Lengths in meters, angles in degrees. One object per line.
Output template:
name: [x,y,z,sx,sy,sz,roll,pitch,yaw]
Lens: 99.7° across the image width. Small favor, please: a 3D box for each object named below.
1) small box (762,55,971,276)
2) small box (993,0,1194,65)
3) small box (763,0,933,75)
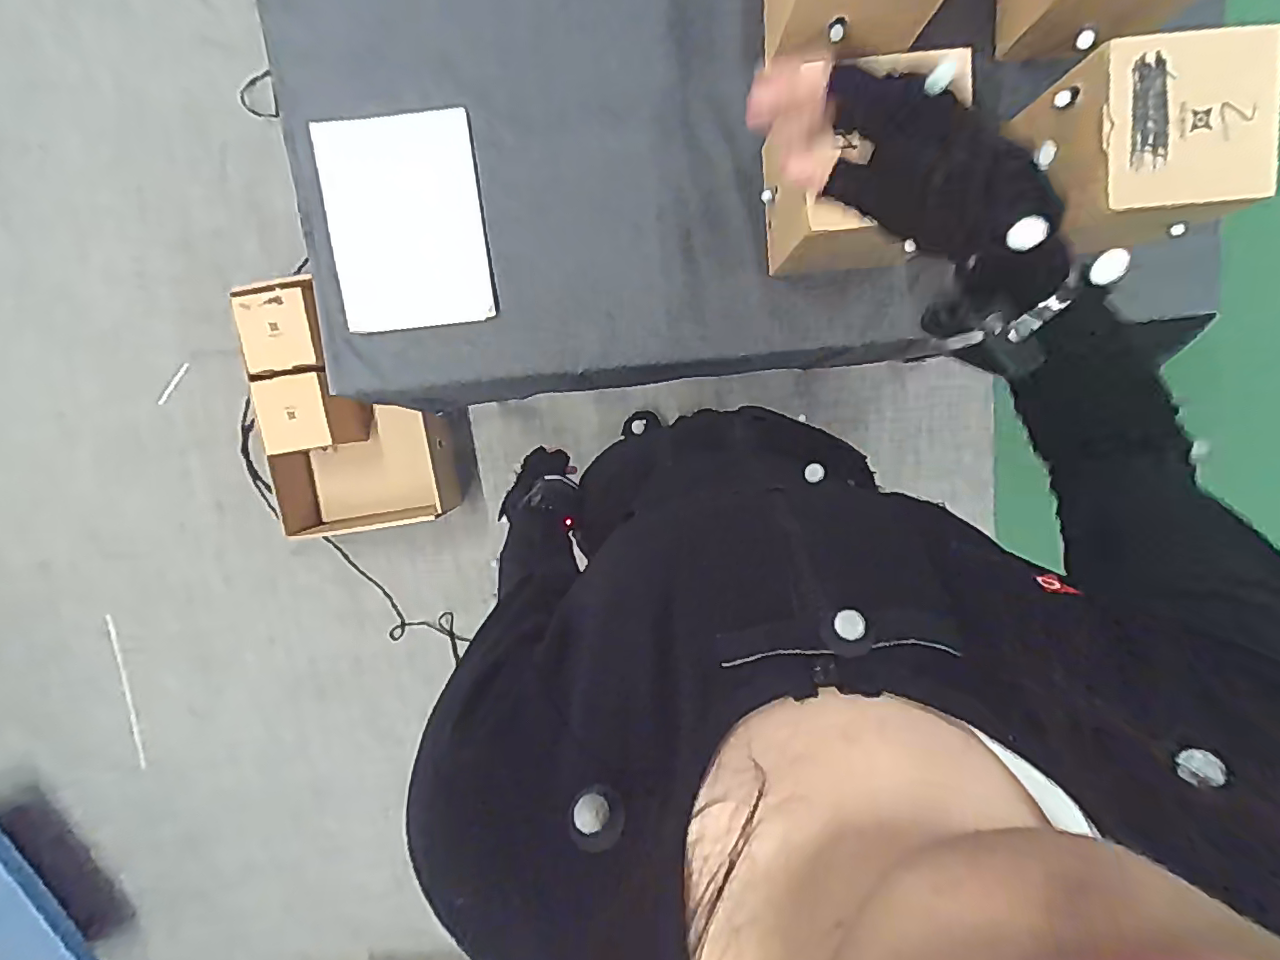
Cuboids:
small box: [0.251,-0.348,0.631,0.179,0.176,0.168,-4,95,2]
small box: [0.527,-0.610,0.601,0.168,0.176,0.179,-2,97,1]
small box: [0.237,-0.593,0.609,0.168,0.176,0.179,-2,96,1]
